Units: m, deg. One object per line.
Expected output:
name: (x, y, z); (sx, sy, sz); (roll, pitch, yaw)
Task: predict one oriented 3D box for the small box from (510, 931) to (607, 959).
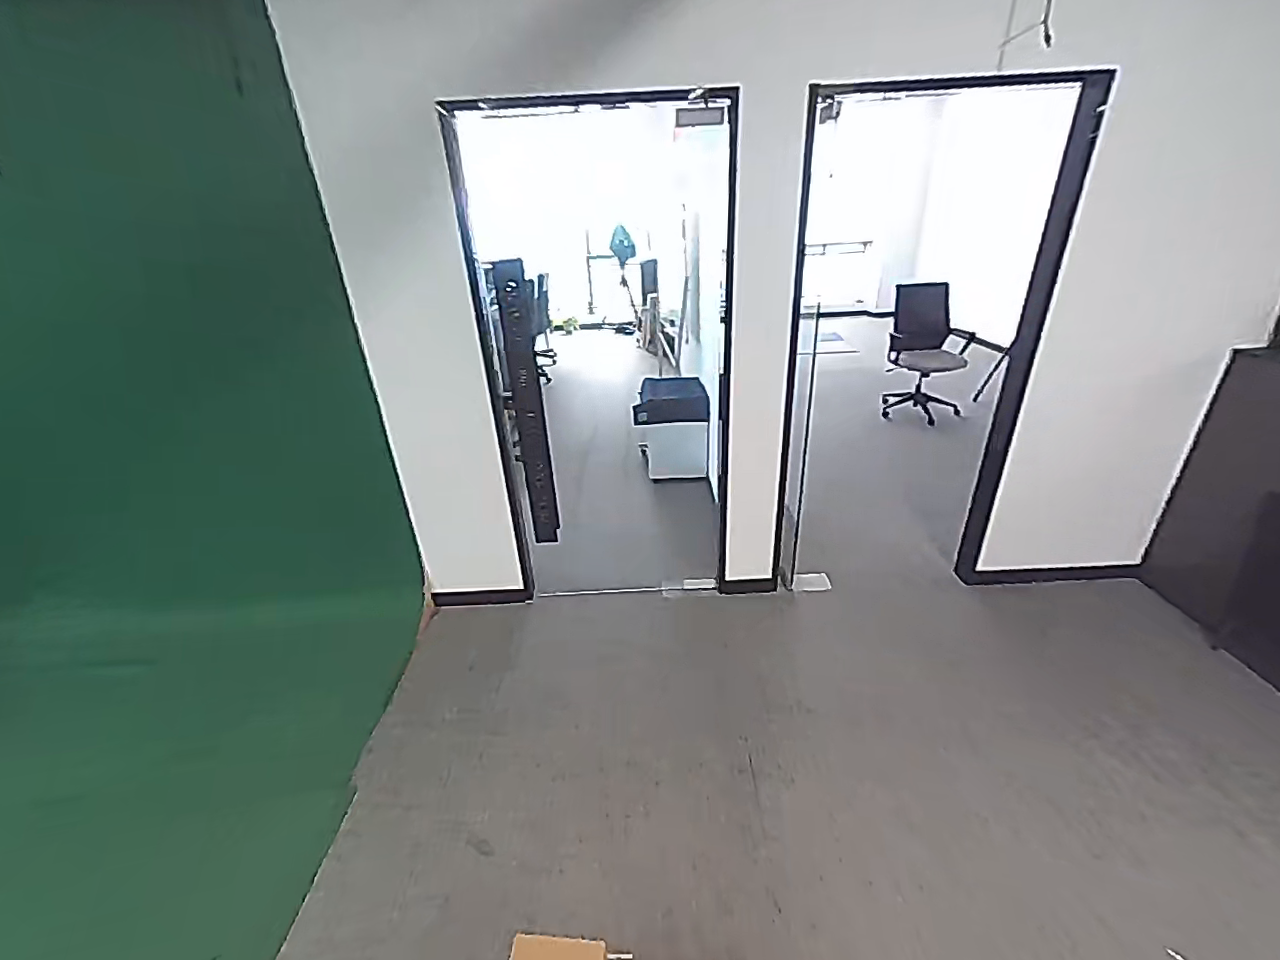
small box: (-0.148, 0.926, 0.925); (0.168, 0.176, 0.179); (1, 26, 6)
